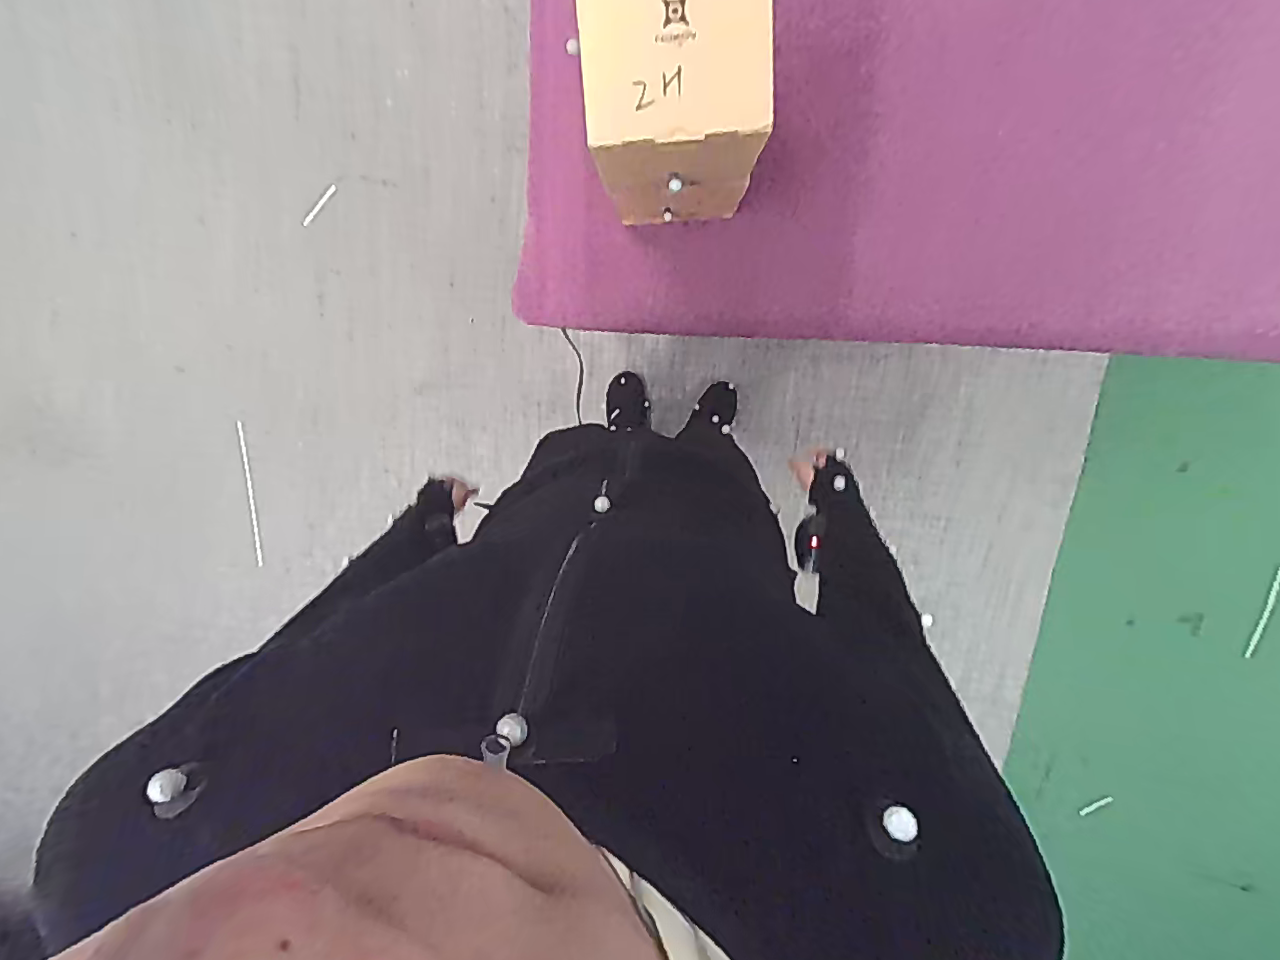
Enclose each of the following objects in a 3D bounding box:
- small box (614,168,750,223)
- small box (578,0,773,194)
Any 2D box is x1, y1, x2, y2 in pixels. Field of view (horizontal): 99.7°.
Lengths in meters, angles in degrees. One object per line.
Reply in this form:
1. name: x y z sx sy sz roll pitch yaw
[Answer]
1. small box: 0.046 -0.444 0.690 0.168 0.176 0.179 -2 104 3
2. small box: 0.032 -0.404 0.531 0.168 0.176 0.179 -3 104 4
